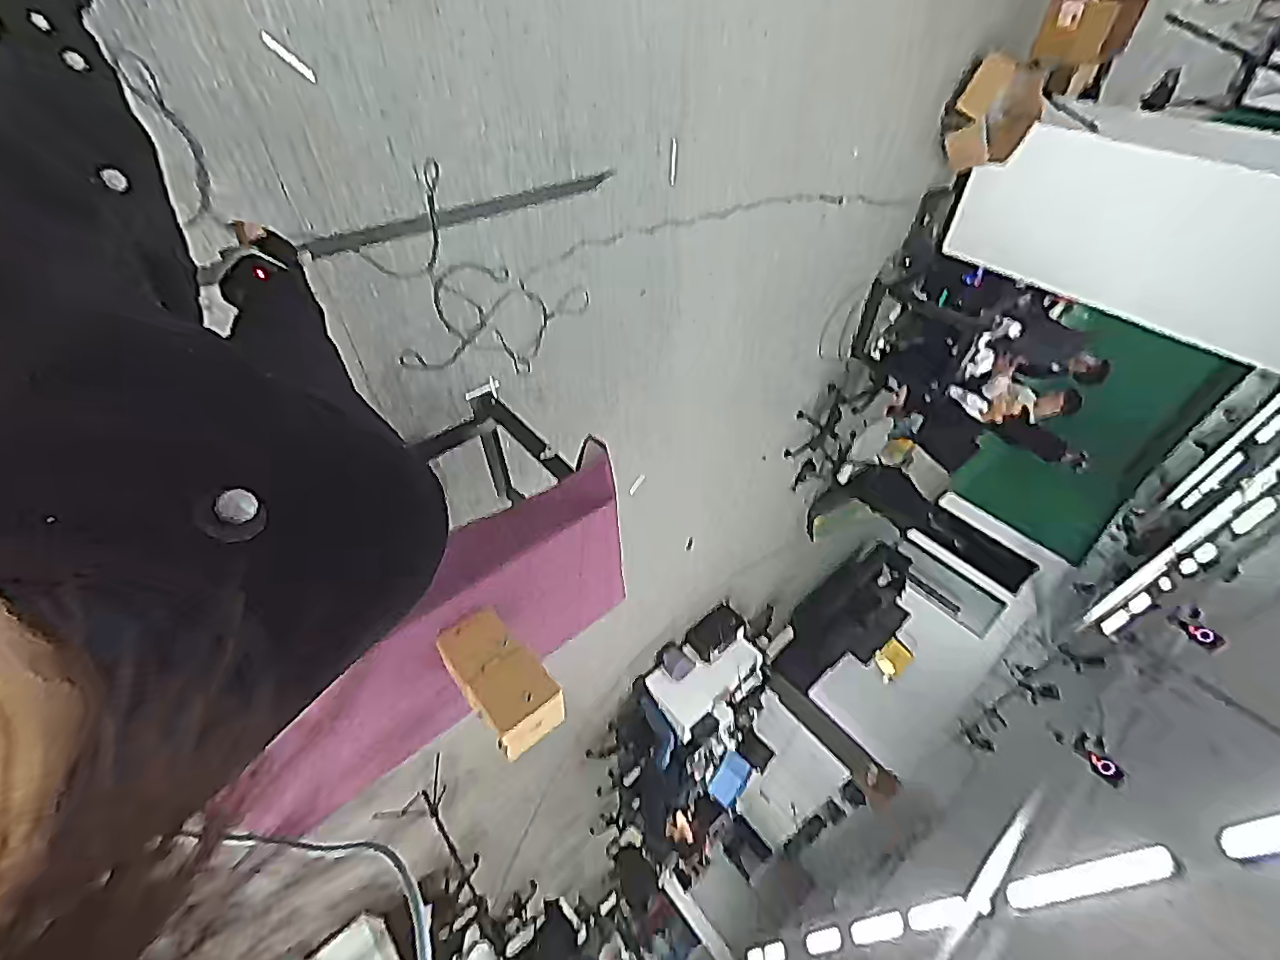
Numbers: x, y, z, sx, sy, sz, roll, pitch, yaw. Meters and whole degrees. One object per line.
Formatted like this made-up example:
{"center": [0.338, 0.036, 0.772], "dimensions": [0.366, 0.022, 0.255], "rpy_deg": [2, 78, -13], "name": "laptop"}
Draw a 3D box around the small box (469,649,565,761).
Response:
{"center": [-0.313, 0.573, 1.393], "dimensions": [0.179, 0.176, 0.168], "rpy_deg": [-29, 143, -29], "name": "small box"}
